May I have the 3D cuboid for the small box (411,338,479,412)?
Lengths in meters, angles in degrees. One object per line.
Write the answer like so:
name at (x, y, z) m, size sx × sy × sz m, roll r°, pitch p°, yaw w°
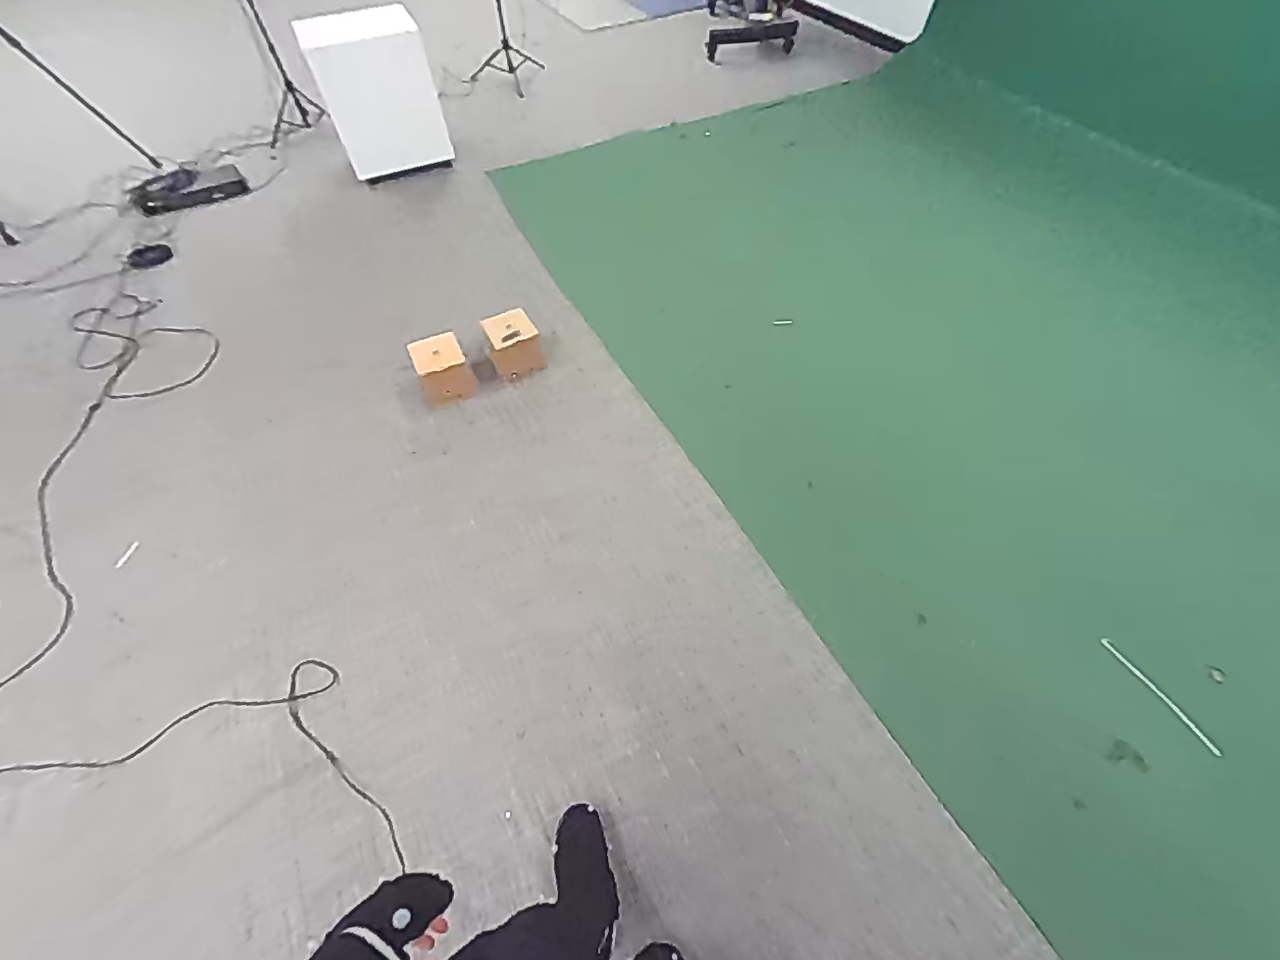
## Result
small box at (-0.700, -0.376, 1.949) m, size 0.168 × 0.176 × 0.179 m, roll -23°, pitch 58°, yaw -15°

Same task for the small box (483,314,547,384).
small box at (-0.463, -0.481, 2.020) m, size 0.168 × 0.176 × 0.179 m, roll -25°, pitch 58°, yaw -16°
